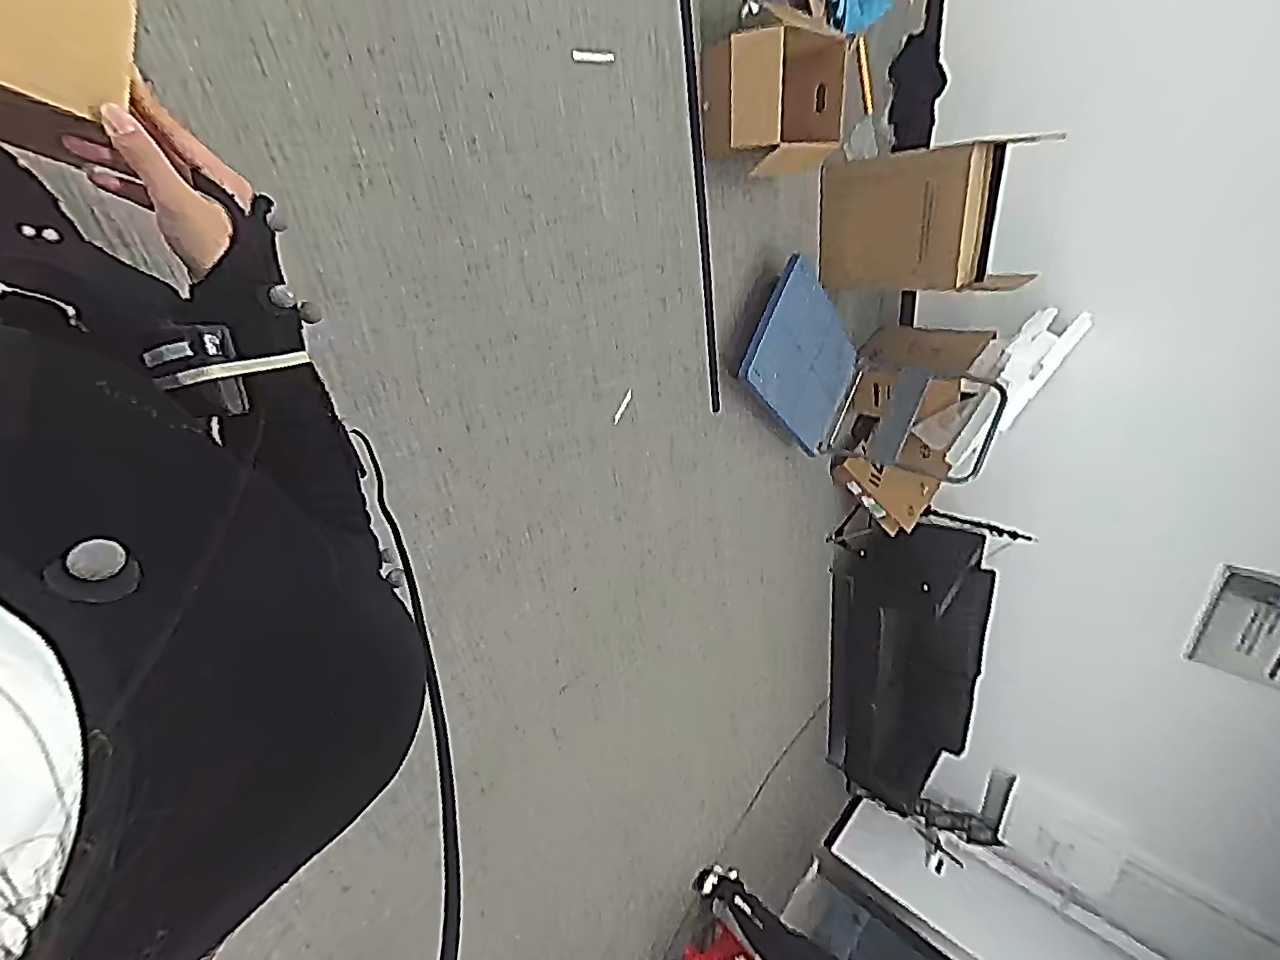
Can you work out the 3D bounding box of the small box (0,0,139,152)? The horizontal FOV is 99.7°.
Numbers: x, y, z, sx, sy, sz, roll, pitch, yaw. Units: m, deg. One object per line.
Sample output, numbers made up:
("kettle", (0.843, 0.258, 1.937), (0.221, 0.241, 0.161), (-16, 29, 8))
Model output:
("small box", (-0.400, -0.305, 0.292), (0.179, 0.176, 0.168), (3, 100, -50))
